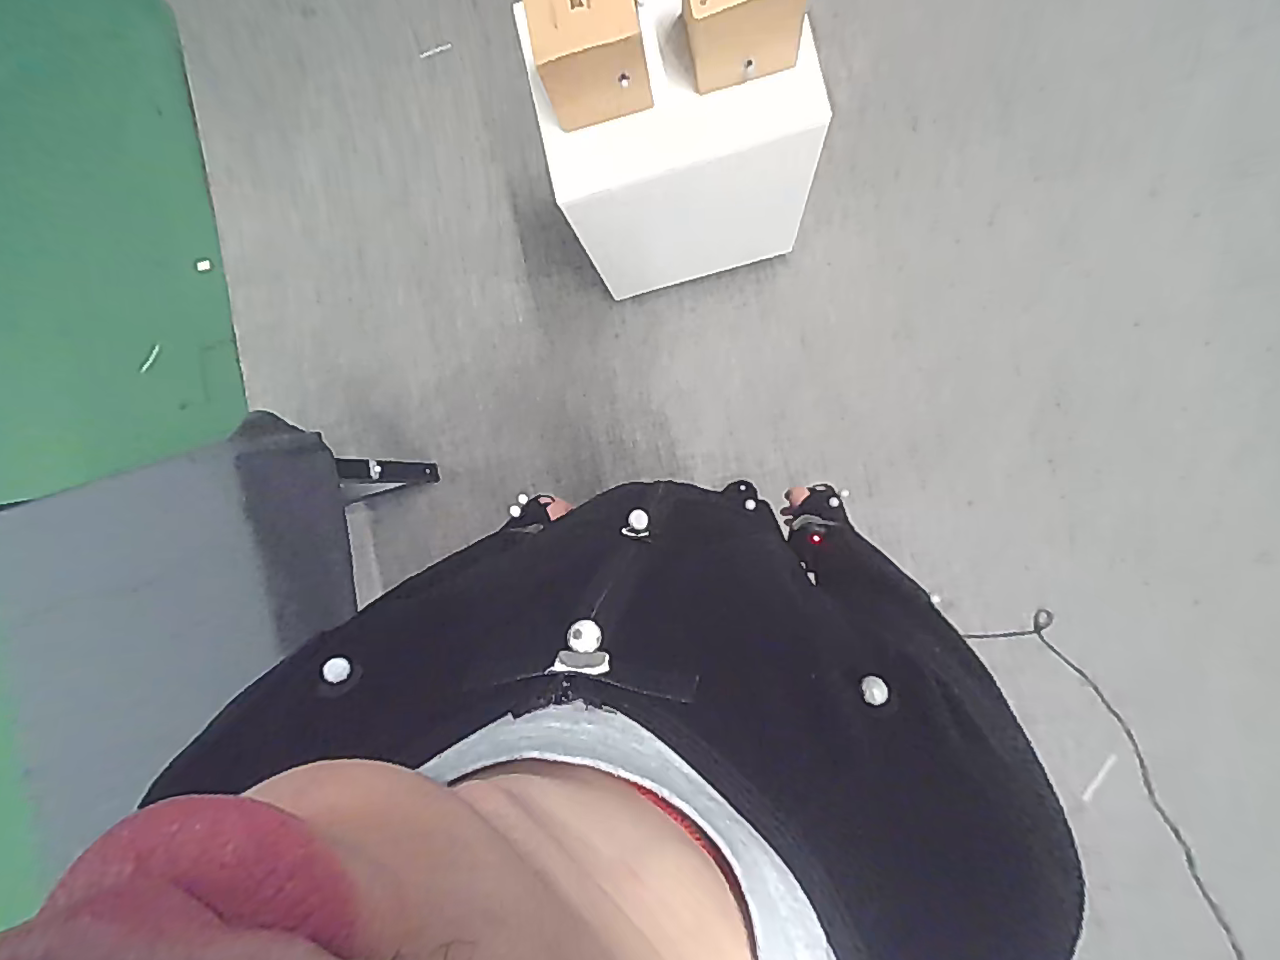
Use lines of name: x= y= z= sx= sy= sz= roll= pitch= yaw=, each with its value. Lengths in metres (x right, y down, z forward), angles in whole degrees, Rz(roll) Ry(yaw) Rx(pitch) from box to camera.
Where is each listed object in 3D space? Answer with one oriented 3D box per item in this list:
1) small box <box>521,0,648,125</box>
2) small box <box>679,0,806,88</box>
small box: x=-0.087 y=-0.741 z=0.902 sx=0.179 sy=0.176 sz=0.168 roll=-12 pitch=88 yaw=8
small box: x=0.157 y=-0.784 z=0.868 sx=0.179 sy=0.176 sz=0.168 roll=-11 pitch=89 yaw=7
